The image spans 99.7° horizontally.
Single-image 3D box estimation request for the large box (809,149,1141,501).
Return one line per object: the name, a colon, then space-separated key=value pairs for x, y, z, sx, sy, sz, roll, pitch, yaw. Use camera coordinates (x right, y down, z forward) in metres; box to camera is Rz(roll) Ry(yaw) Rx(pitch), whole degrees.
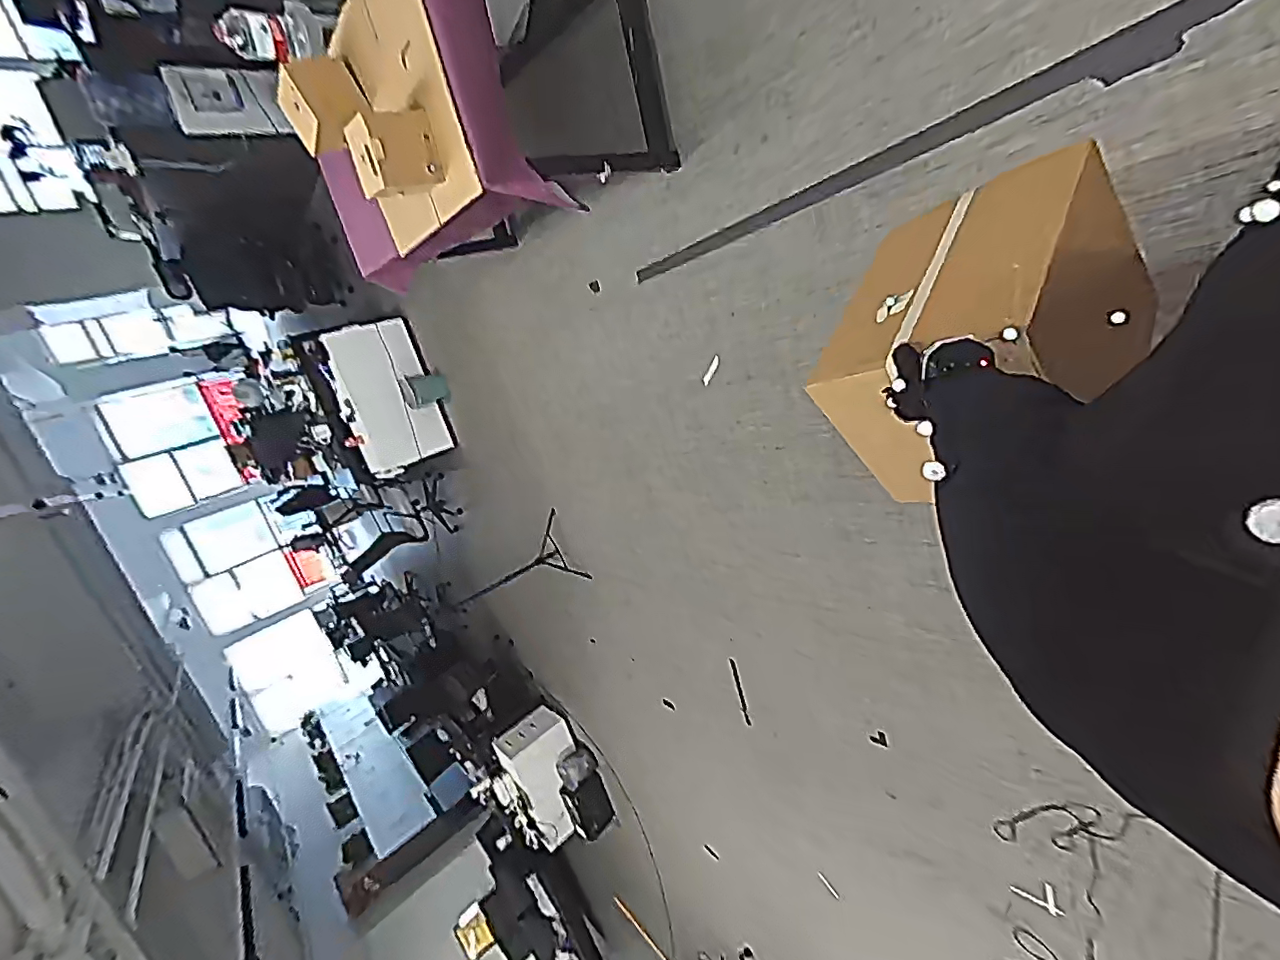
large box: x=0.547 y=-0.216 z=0.873 sx=0.320 sy=0.408 sz=0.320 roll=41 pitch=156 yaw=-23
